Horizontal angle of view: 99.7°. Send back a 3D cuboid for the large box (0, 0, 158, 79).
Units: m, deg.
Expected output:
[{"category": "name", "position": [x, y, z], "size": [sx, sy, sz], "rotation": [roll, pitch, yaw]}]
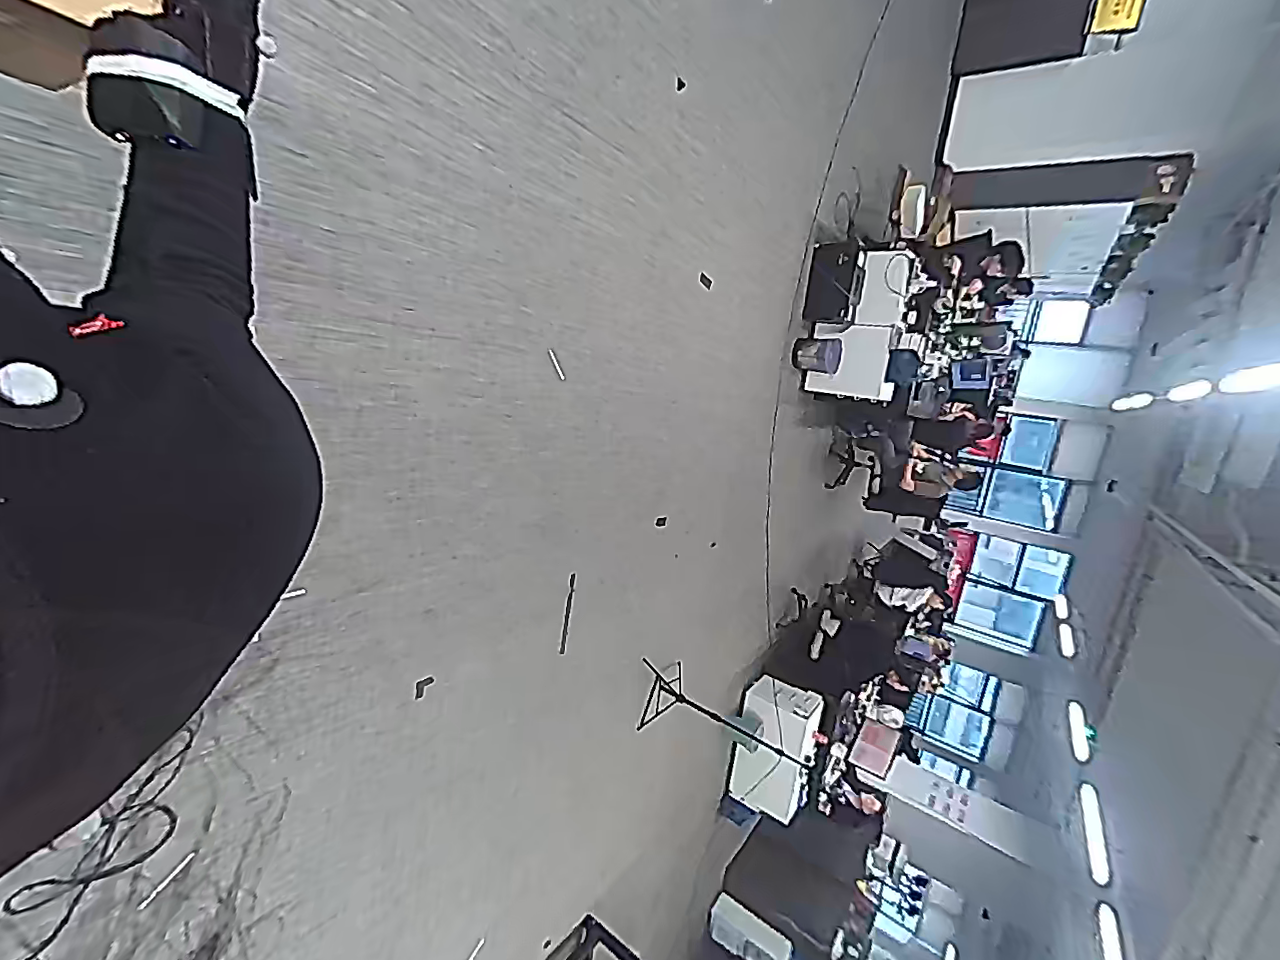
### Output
[{"category": "large box", "position": [-0.538, -0.470, 0.254], "size": [0.408, 0.320, 0.320], "rotation": [-8, 115, -56]}]
